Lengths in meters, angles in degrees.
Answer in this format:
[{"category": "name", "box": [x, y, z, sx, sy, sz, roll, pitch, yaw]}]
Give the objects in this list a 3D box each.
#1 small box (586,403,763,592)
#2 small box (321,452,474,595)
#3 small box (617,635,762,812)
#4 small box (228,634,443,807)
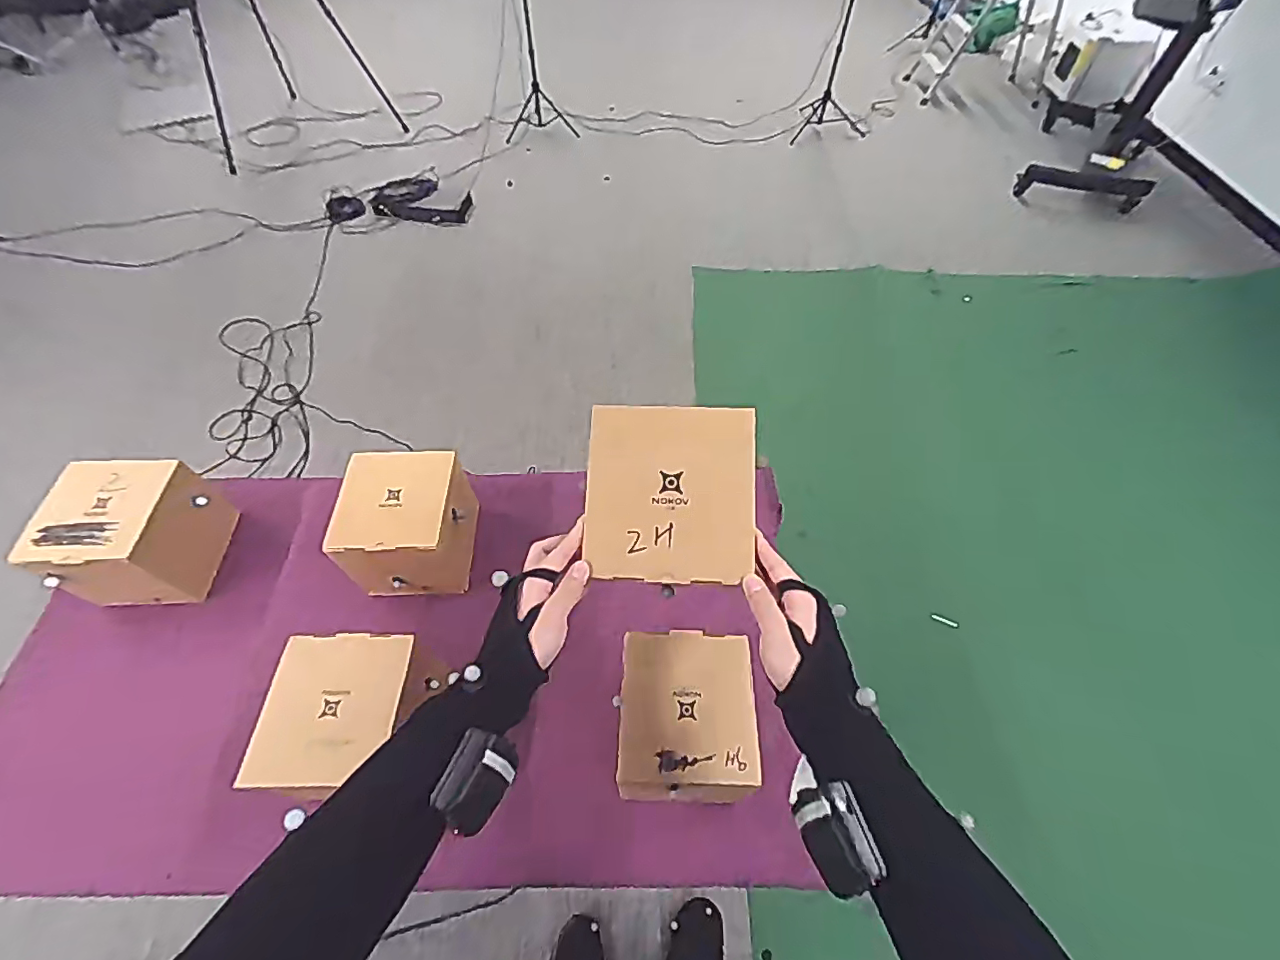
[{"category": "small box", "box": [0.040, 0.029, 0.601, 0.168, 0.176, 0.179, 3, 77, 5]}, {"category": "small box", "box": [-0.374, 0.073, 0.875, 0.168, 0.176, 0.179, 0, 56, -3]}, {"category": "small box", "box": [0.057, 0.322, 0.712, 0.168, 0.176, 0.179, 2, 53, 1]}, {"category": "small box", "box": [-0.372, 0.316, 0.705, 0.168, 0.176, 0.179, 1, 55, 0]}]
